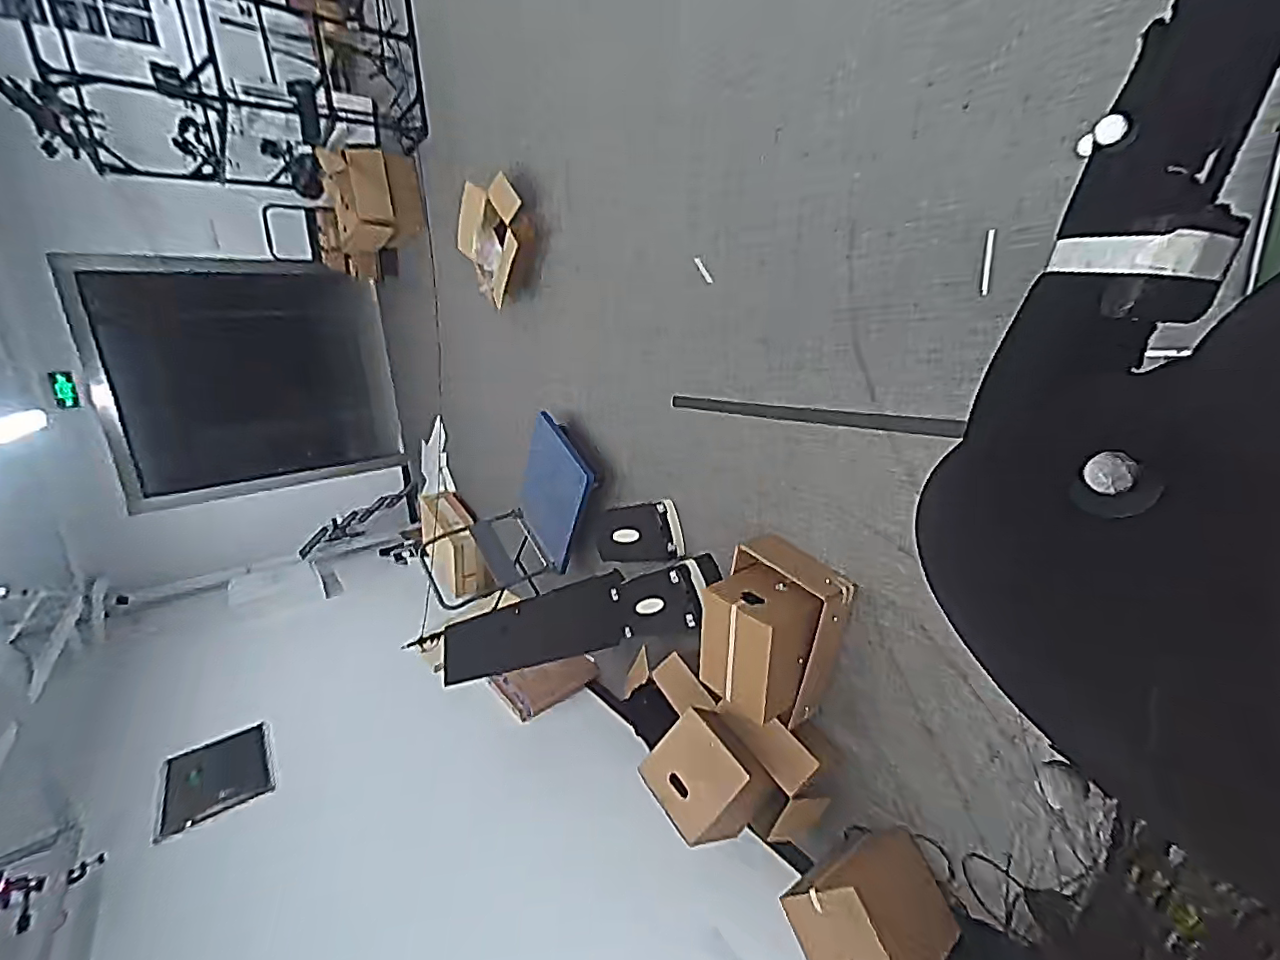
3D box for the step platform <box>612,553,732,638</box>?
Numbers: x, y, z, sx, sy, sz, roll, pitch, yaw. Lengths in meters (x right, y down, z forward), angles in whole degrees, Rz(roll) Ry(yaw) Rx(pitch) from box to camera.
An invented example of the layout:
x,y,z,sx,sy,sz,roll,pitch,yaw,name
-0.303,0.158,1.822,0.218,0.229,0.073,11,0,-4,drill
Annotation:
x,y,z,sx,sy,sz,roll,pitch,yaw,name
0.122,0.566,2.569,0.684,0.204,0.286,-32,76,53,step platform
